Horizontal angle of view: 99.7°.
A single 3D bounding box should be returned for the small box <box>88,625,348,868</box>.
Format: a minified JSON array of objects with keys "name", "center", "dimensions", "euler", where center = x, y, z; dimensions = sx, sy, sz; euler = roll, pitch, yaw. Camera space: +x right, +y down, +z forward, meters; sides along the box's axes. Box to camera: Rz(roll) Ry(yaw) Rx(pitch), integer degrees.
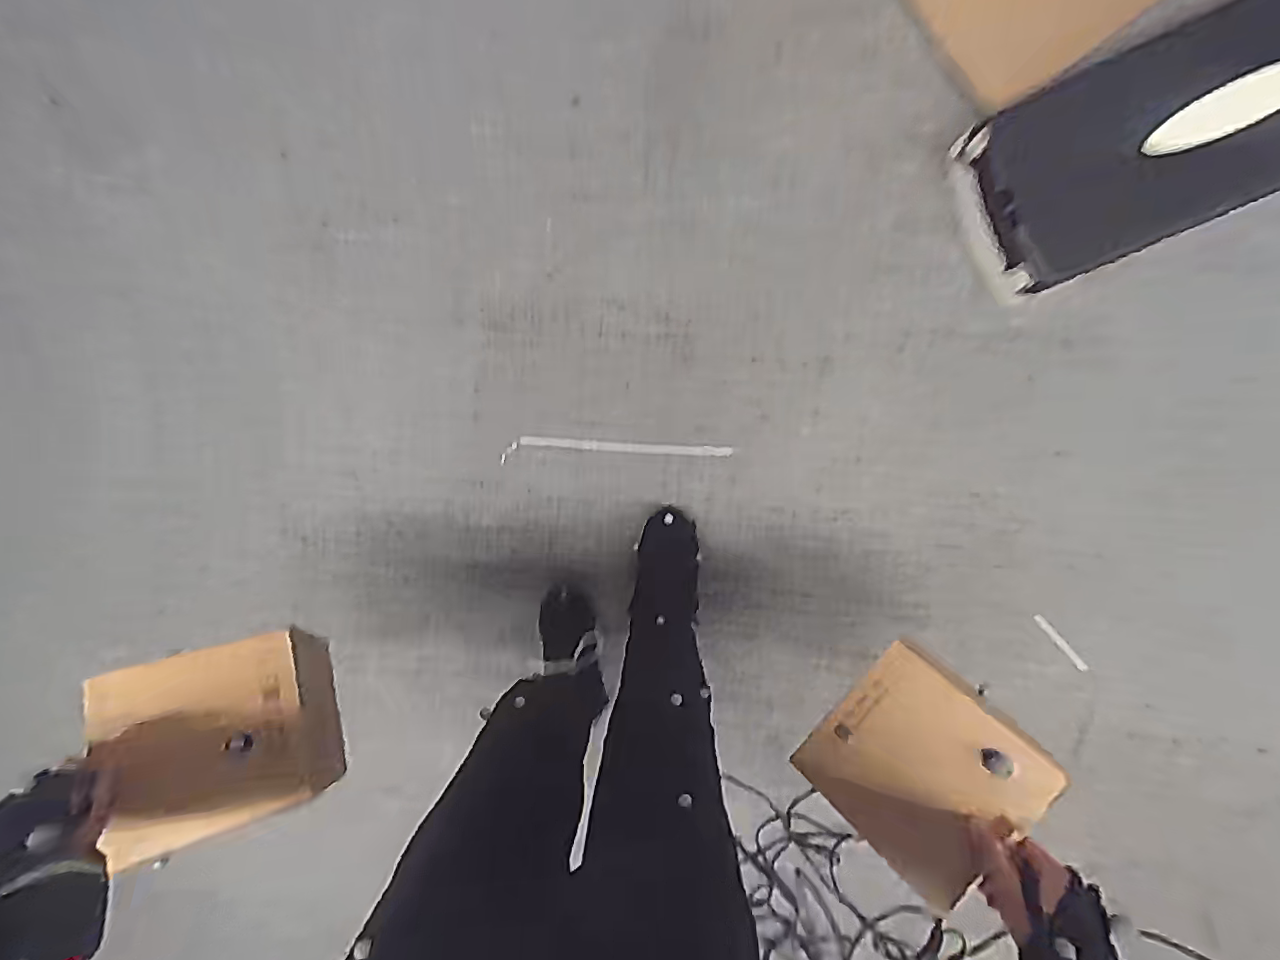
[{"name":"small box","center":[-0.425,0.262,0.574],"dimensions":[0.176,0.179,0.168],"euler":[-12,74,-22]}]
